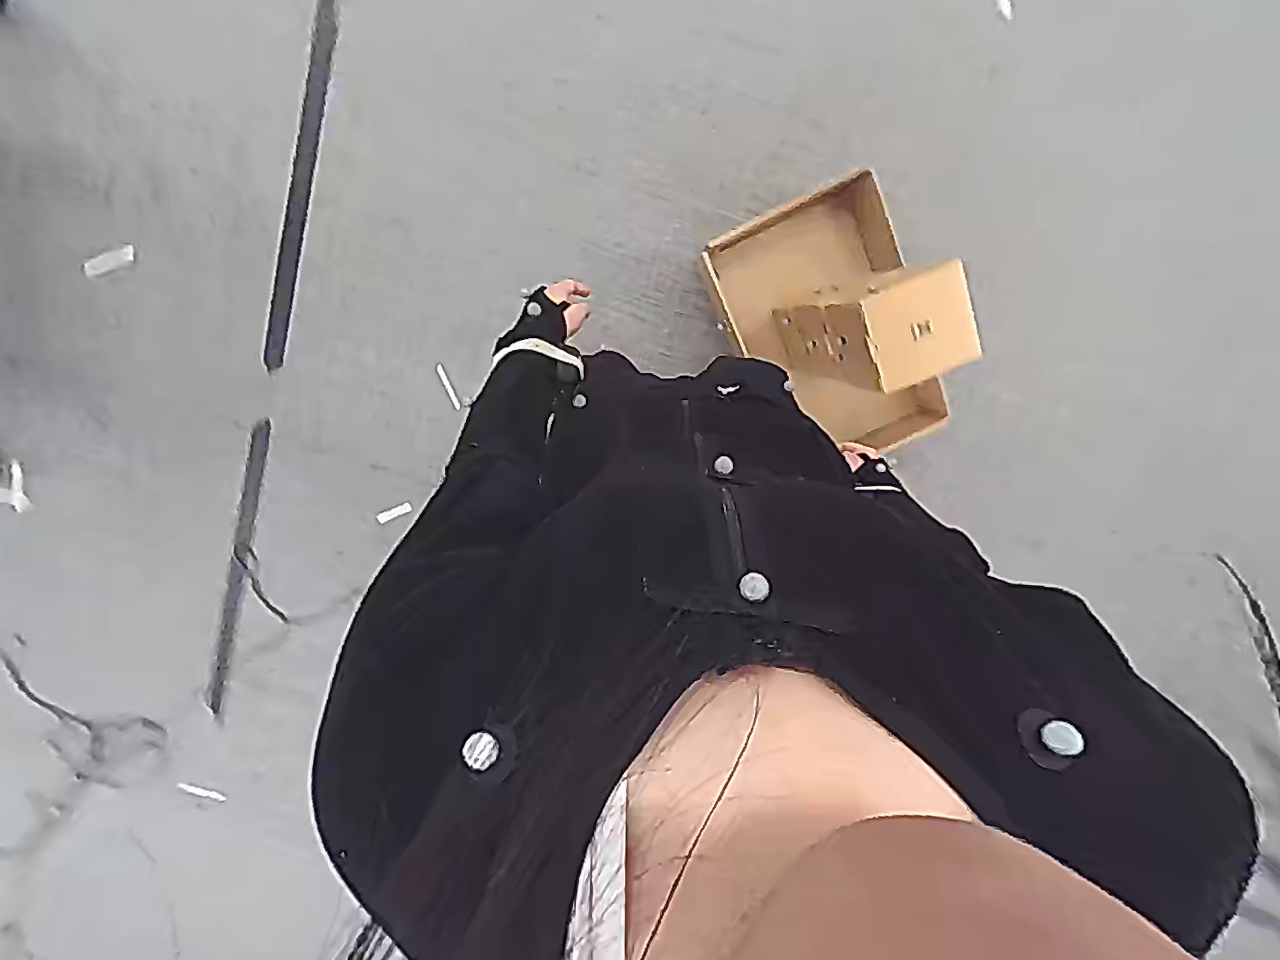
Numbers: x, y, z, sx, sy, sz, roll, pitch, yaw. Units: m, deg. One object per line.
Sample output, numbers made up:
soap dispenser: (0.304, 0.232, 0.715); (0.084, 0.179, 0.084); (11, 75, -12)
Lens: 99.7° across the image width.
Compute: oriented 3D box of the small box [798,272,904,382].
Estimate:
small box: (0.446, -0.317, 1.131); (0.179, 0.176, 0.168); (-21, 106, 4)

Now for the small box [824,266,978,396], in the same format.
small box: (0.461, -0.269, 0.975); (0.179, 0.176, 0.168); (-22, 106, 4)
